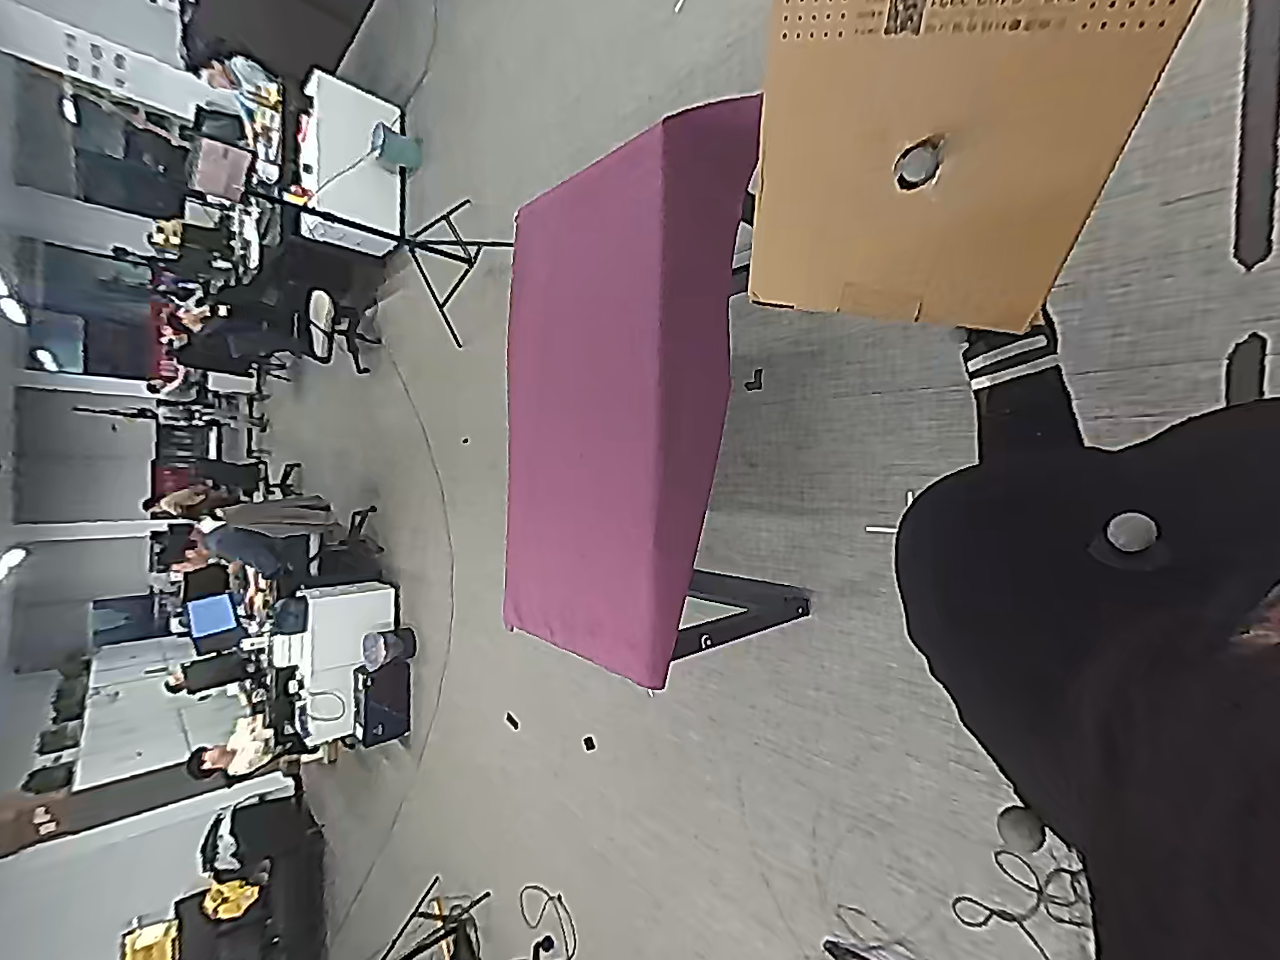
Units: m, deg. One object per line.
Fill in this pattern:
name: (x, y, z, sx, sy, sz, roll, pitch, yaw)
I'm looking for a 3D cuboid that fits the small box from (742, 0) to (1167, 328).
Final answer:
small box: (0.163, -0.216, 0.318, 0.168, 0.179, 0.176, 14, 140, 19)
